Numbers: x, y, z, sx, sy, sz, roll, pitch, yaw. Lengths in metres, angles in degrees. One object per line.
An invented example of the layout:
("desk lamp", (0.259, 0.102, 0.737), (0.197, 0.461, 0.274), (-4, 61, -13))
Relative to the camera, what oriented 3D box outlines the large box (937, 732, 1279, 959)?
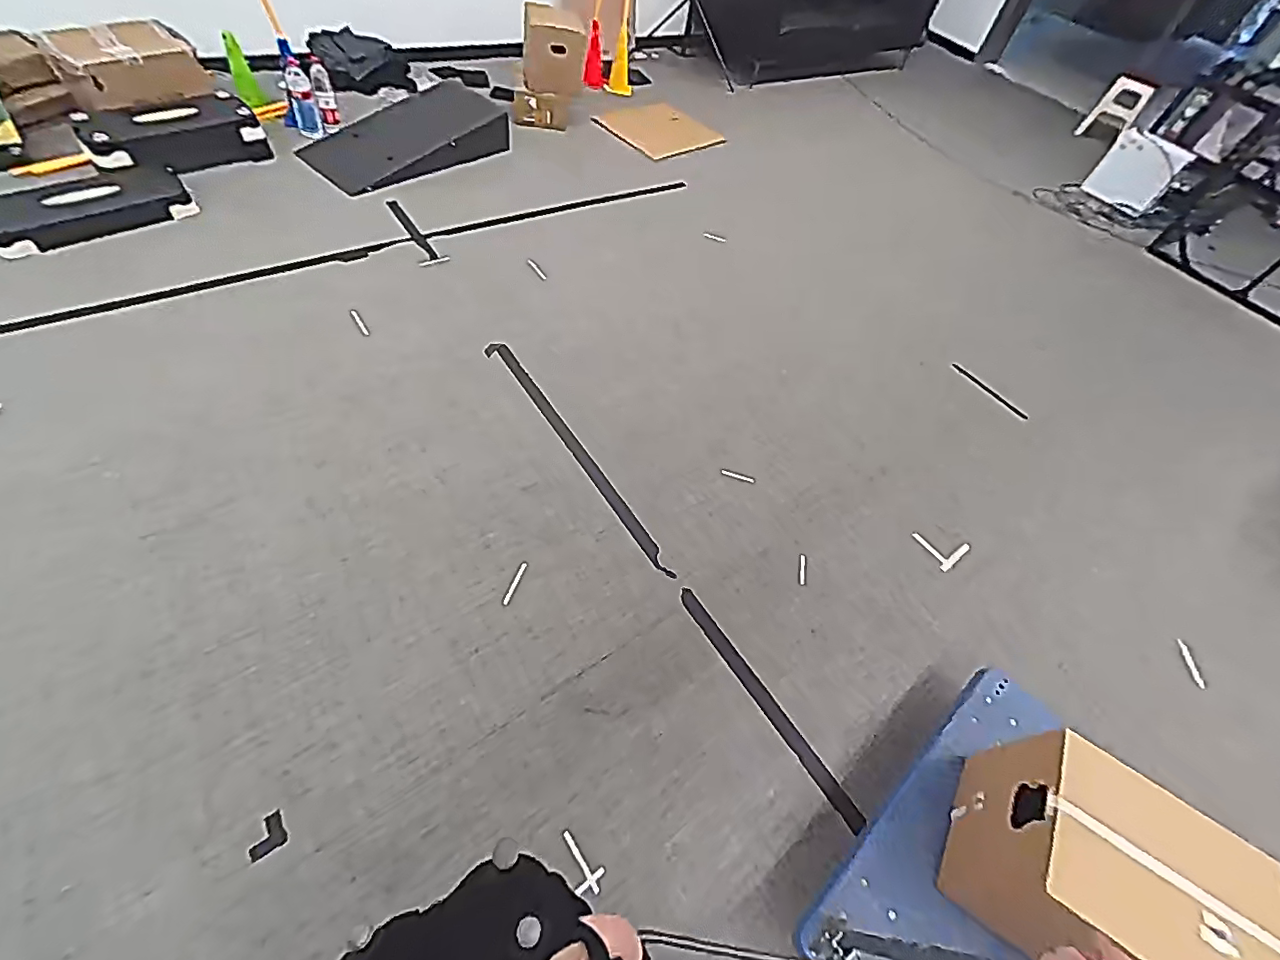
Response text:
("large box", (0.874, 0.768, 1.043), (0.408, 0.320, 0.320), (33, 56, 13))
